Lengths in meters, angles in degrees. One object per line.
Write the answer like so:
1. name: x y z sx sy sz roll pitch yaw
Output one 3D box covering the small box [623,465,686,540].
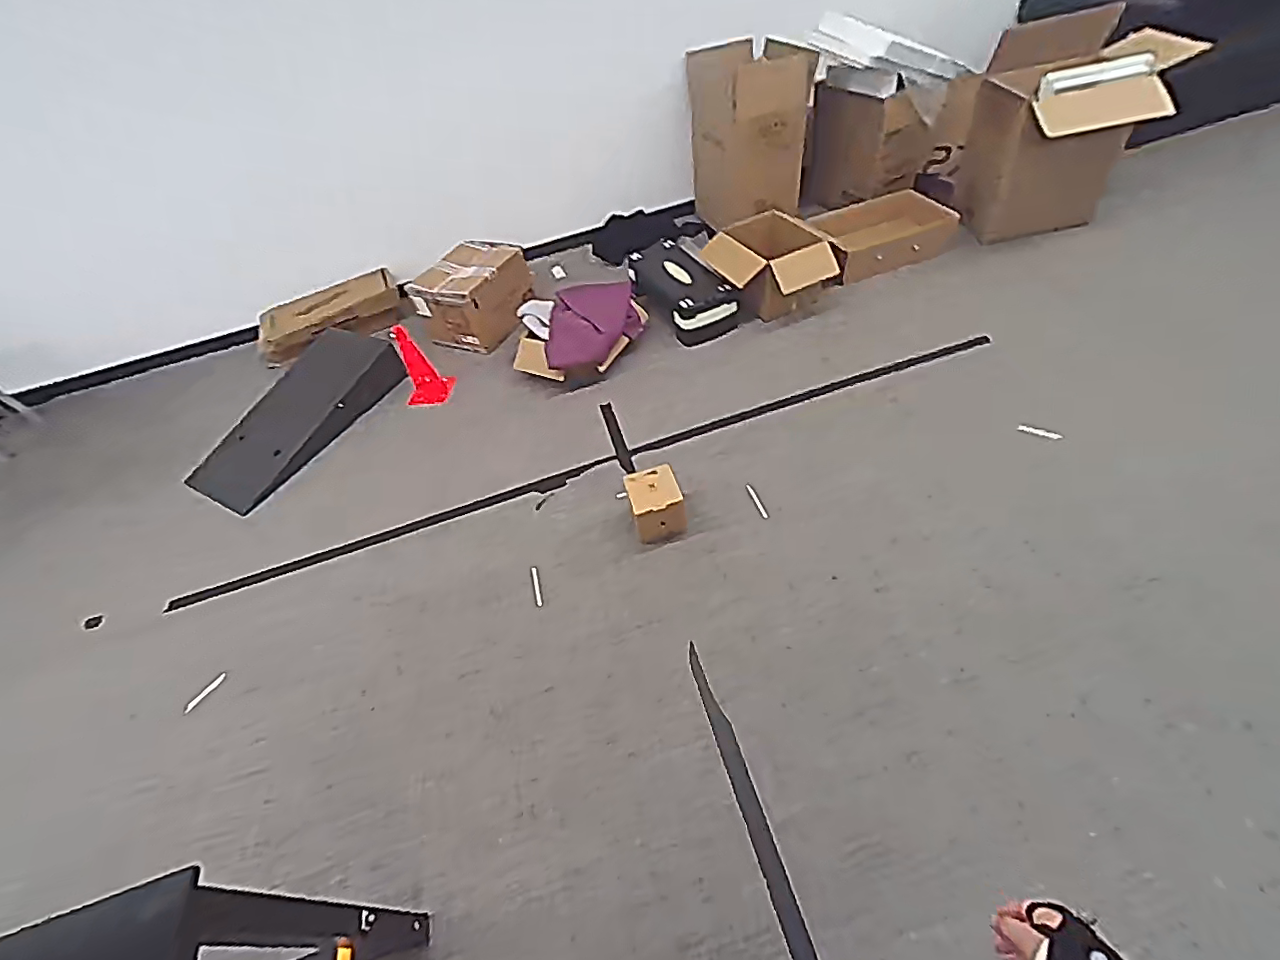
1. small box: 0.052 0.085 1.828 0.168 0.176 0.179 -17 49 -3
